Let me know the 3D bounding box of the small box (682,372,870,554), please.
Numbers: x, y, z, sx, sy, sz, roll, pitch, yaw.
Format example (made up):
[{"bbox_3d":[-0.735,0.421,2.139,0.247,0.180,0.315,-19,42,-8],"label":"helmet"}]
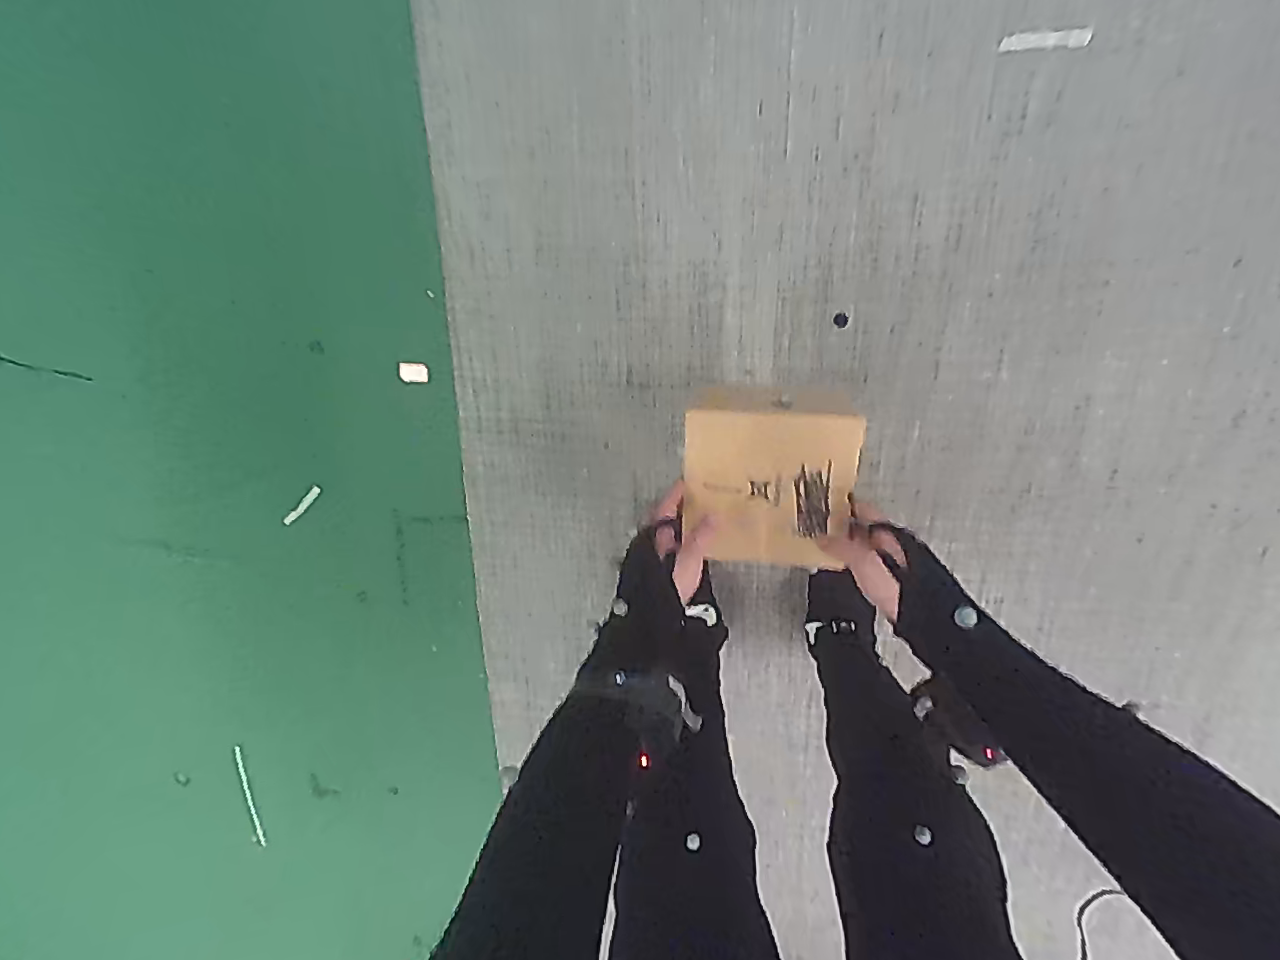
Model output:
[{"bbox_3d":[0.146,-0.031,0.625,0.179,0.176,0.168,4,110,10],"label":"small box"}]
